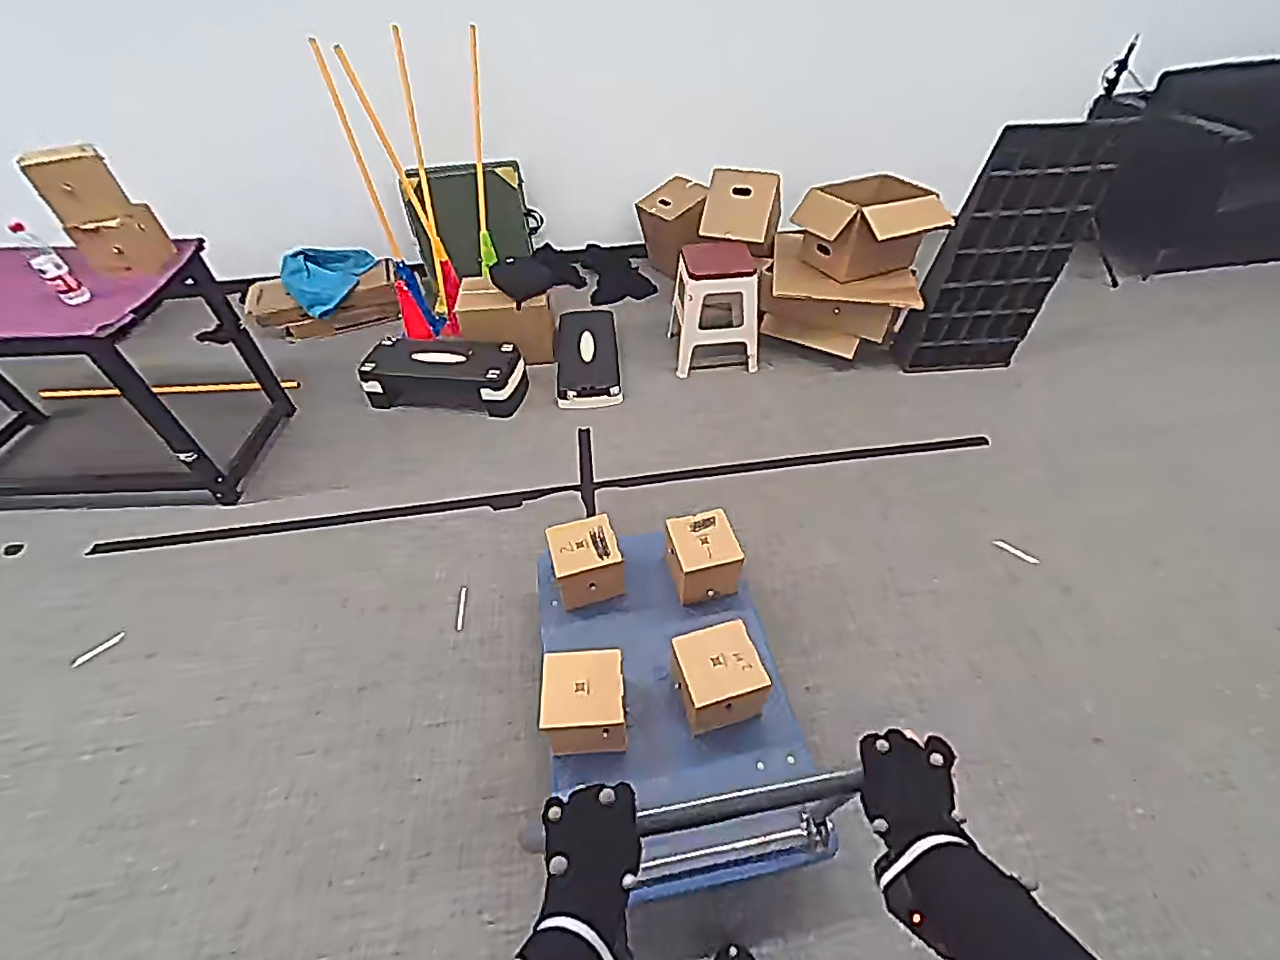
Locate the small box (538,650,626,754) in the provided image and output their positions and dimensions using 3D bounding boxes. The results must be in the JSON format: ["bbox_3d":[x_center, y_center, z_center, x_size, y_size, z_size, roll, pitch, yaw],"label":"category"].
[{"bbox_3d":[-0.125,0.501,1.214,0.179,0.176,0.168,-3,46,-2],"label":"small box"}]

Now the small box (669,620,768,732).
[{"bbox_3d":[0.174,0.454,1.245,0.179,0.176,0.168,-13,48,-10],"label":"small box"}]

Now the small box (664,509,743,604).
[{"bbox_3d":[0.165,0.210,1.478,0.168,0.176,0.179,-12,48,-8],"label":"small box"}]
